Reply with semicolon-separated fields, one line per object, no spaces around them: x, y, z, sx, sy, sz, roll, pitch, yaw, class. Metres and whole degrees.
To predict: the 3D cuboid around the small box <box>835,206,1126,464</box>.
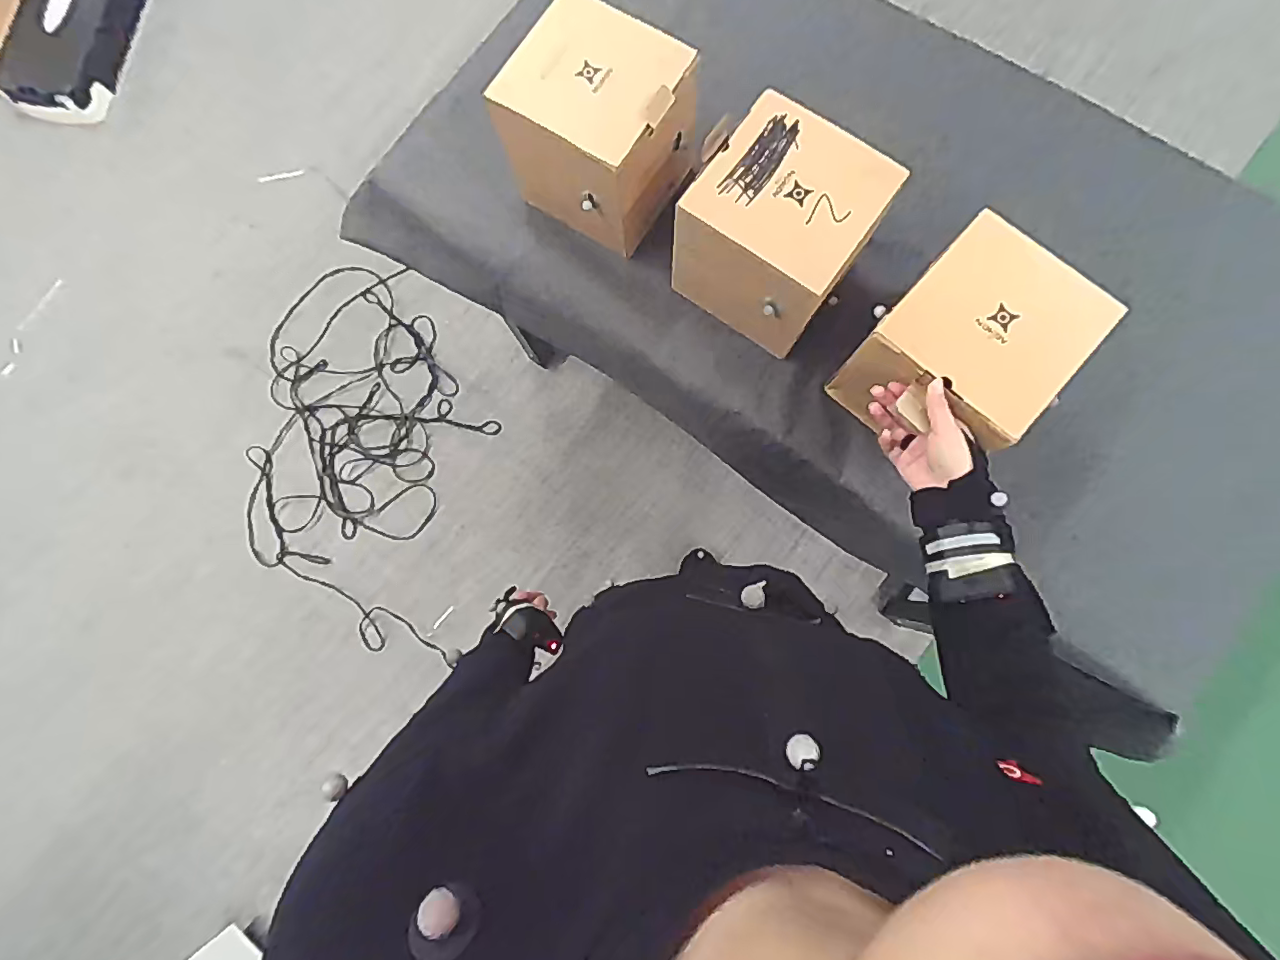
0.345;-0.142;0.589;0.168;0.176;0.179;41;85;7;small box

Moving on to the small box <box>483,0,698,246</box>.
-0.049;-0.416;0.650;0.179;0.176;0.168;31;82;7;small box
